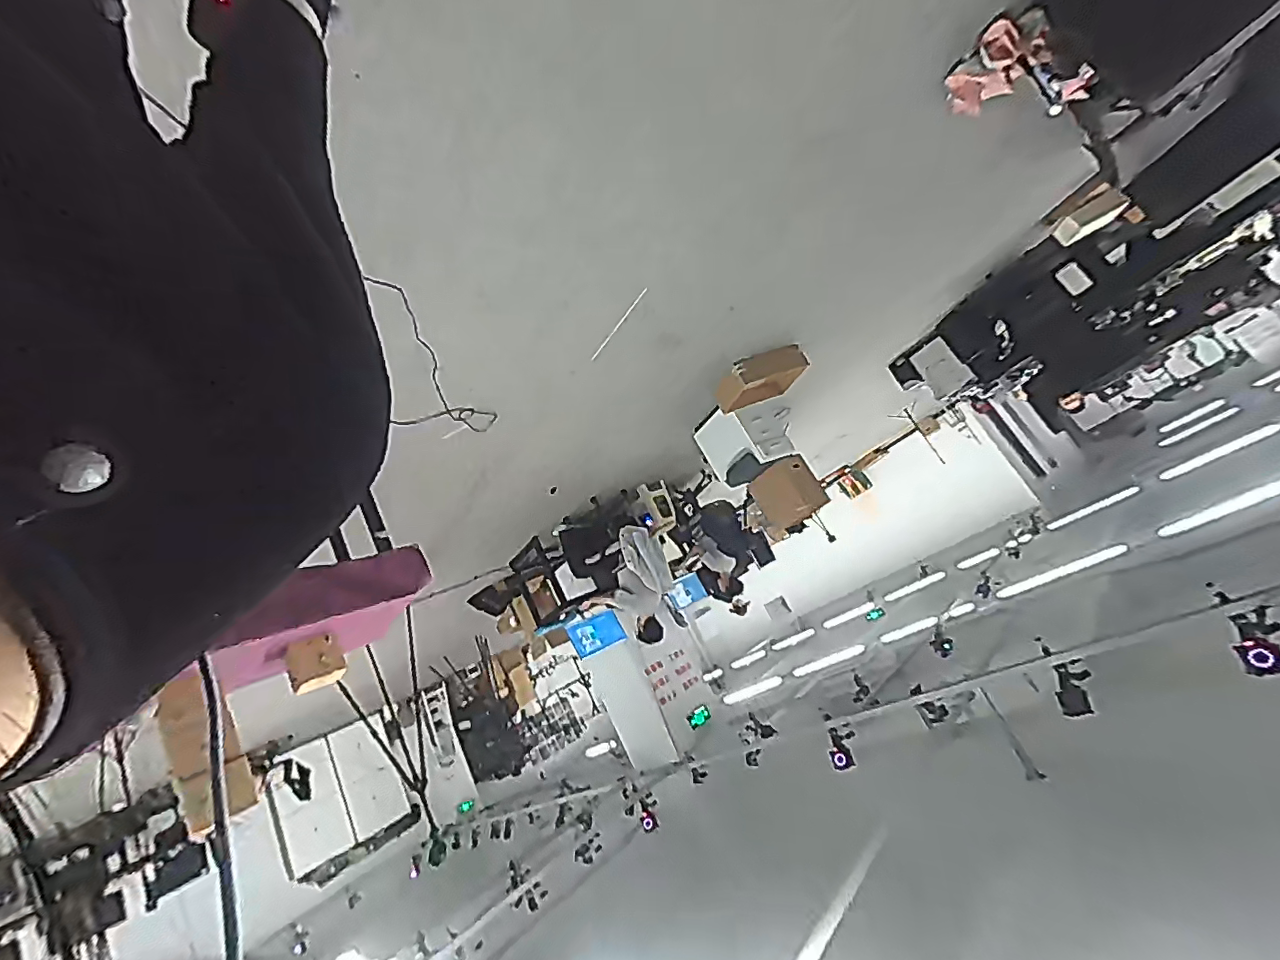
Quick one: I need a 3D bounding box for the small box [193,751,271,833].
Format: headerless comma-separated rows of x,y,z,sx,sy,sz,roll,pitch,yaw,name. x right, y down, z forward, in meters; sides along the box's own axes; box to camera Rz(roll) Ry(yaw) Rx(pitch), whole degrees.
-1.388,1.054,1.831,0.179,0.176,0.168,-12,158,-47,small box

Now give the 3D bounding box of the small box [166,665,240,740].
-1.555,0.785,1.918,0.179,0.176,0.168,-11,157,-47,small box

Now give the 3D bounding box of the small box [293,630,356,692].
-1.290,0.729,2.202,0.168,0.176,0.179,-11,157,-46,small box
